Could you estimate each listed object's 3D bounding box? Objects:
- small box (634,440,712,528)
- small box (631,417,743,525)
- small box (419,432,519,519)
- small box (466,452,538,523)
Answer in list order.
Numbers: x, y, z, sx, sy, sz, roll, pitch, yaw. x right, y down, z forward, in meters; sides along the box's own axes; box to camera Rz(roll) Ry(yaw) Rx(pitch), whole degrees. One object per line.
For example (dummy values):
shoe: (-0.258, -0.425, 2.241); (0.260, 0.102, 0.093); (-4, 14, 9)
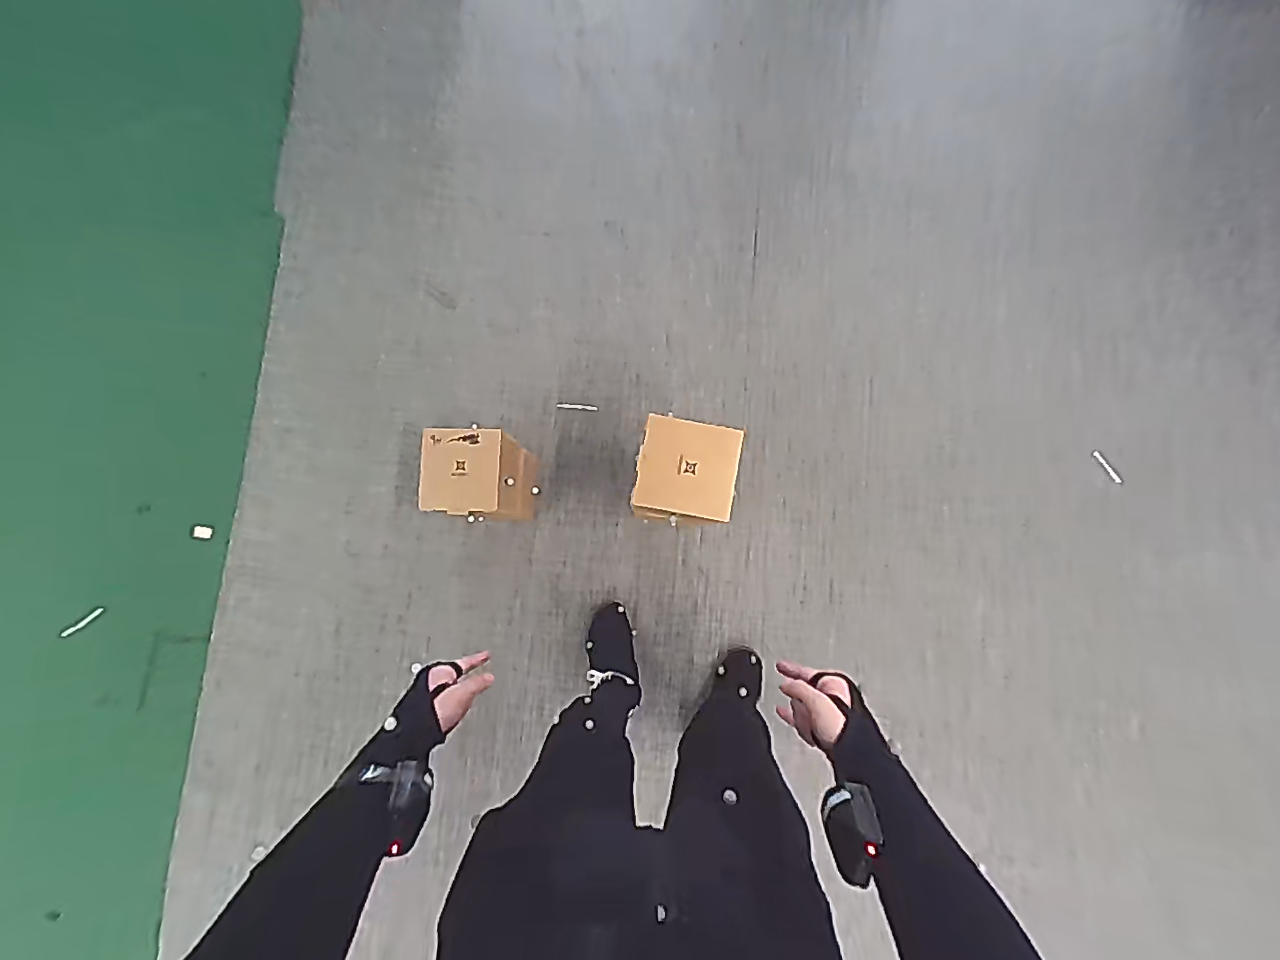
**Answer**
small box: (0.081, 0.014, 1.190); (0.179, 0.176, 0.168); (6, 83, 0)
small box: (0.084, -0.009, 1.030); (0.179, 0.176, 0.168); (10, 83, 2)
small box: (-0.369, -0.003, 1.195); (0.168, 0.176, 0.179); (1, 83, 0)
small box: (-0.365, 0.019, 1.357); (0.179, 0.176, 0.168); (4, 83, 0)
